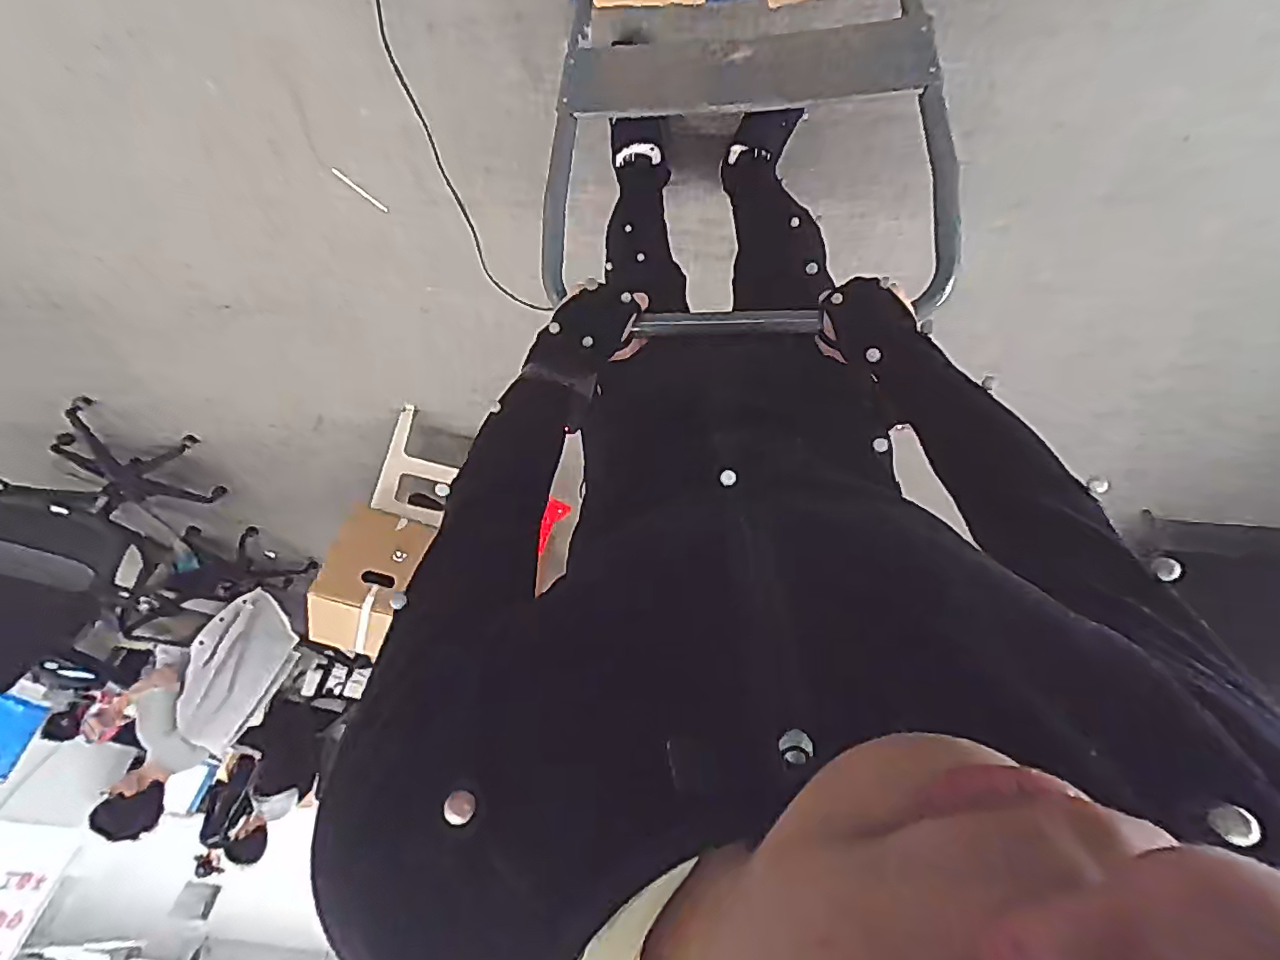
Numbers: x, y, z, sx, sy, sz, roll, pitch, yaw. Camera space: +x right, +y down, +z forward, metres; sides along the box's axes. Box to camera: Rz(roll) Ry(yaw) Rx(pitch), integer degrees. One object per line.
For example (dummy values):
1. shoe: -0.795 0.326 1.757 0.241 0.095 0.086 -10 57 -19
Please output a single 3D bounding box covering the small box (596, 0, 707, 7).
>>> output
1. small box: 0.017 -0.807 0.749 0.168 0.176 0.179 2 156 4
